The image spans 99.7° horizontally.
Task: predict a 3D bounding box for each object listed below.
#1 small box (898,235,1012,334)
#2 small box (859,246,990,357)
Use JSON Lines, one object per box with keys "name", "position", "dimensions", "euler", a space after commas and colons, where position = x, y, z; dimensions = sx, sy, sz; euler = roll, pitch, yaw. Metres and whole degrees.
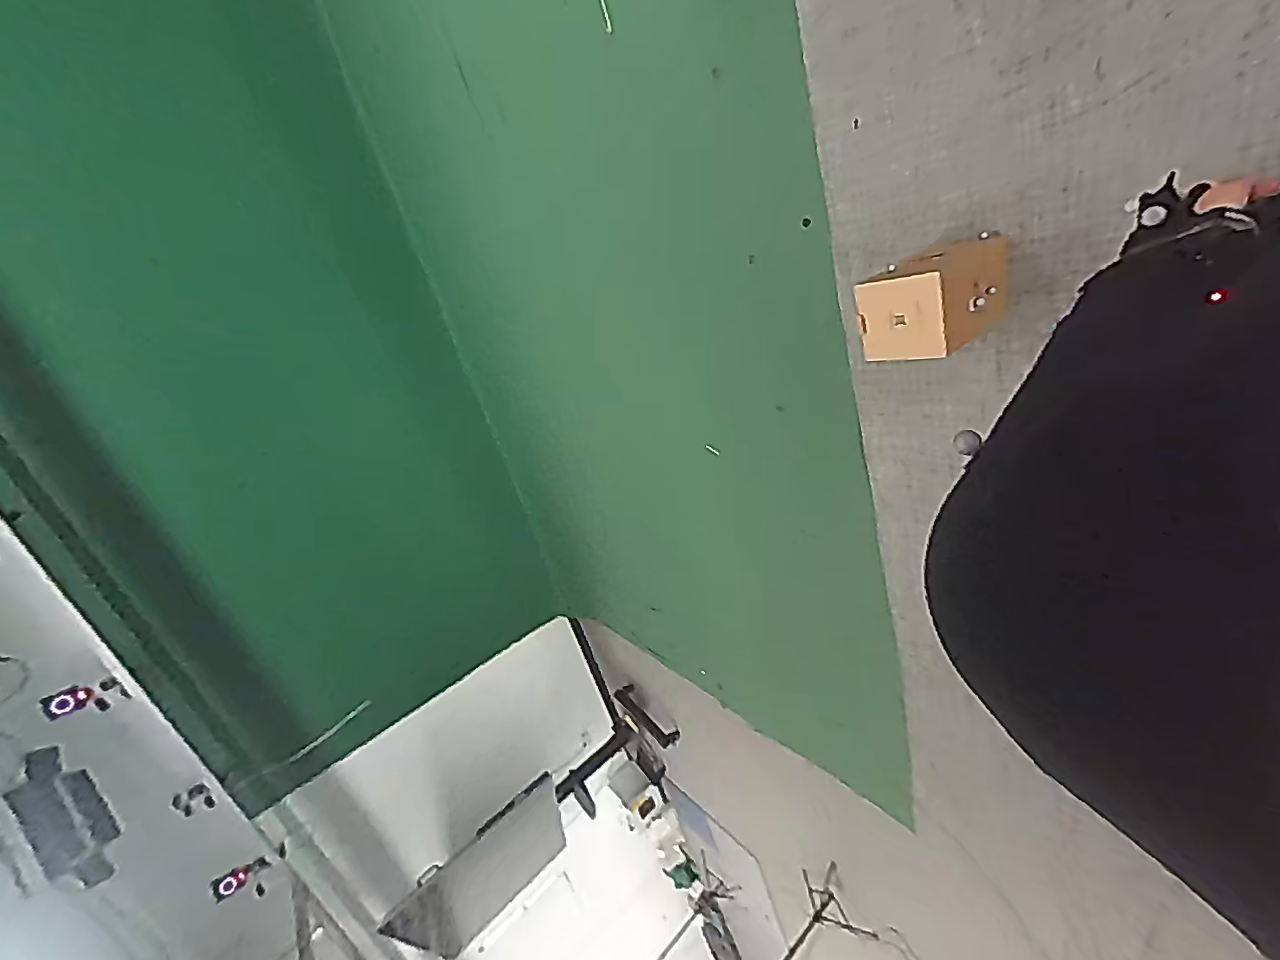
{"name": "small box", "position": [0.700, -0.432, 1.202], "dimensions": [0.168, 0.176, 0.179], "euler": [16, 130, 52]}
{"name": "small box", "position": [0.584, -0.362, 1.110], "dimensions": [0.179, 0.176, 0.168], "euler": [11, 127, 53]}
